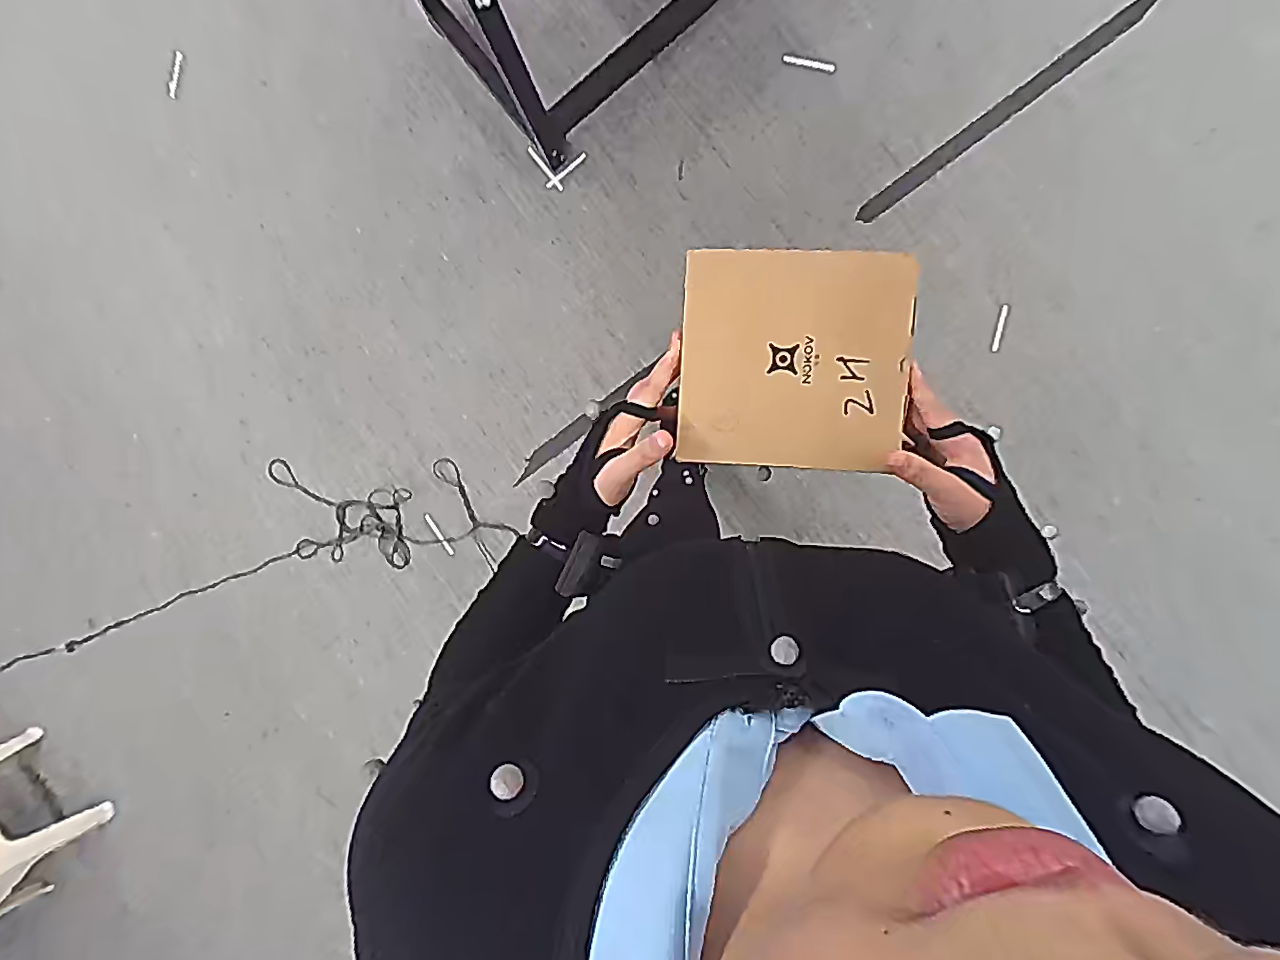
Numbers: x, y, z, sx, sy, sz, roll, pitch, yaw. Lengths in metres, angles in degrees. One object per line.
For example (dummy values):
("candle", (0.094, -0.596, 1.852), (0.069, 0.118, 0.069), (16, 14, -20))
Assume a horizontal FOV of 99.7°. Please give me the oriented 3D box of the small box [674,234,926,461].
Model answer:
("small box", (0.127, -0.109, 0.491), (0.179, 0.176, 0.168), (4, 97, 5))
